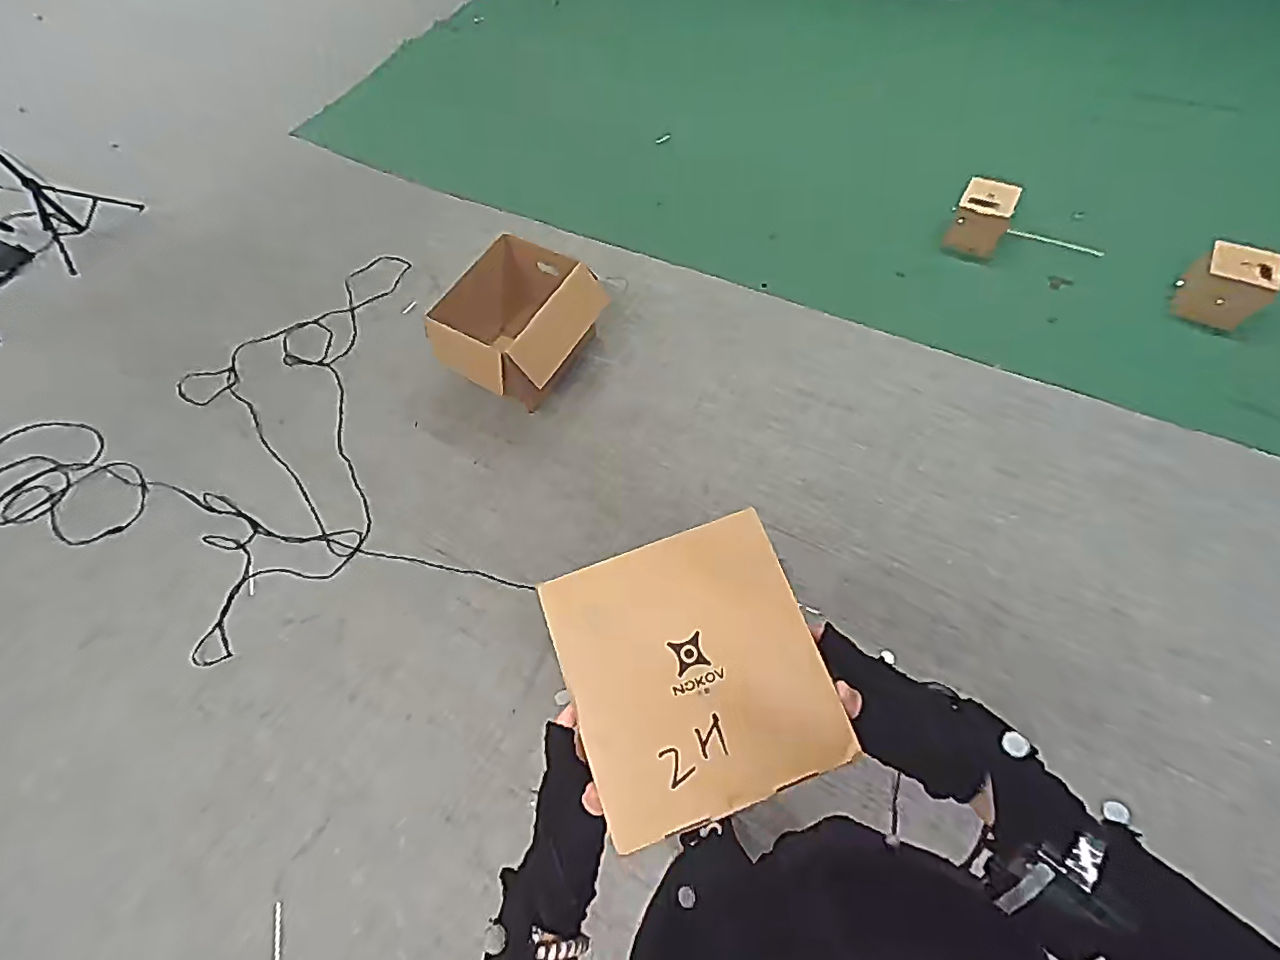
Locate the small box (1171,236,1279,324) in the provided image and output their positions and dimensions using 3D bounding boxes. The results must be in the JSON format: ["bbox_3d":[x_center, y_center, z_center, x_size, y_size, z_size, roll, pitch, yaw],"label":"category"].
[{"bbox_3d":[1.817,-0.613,1.672,0.179,0.176,0.168,26,68,18],"label":"small box"}]

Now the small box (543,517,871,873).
[{"bbox_3d":[0.038,0.151,0.420,0.168,0.176,0.179,-19,73,-4],"label":"small box"}]
